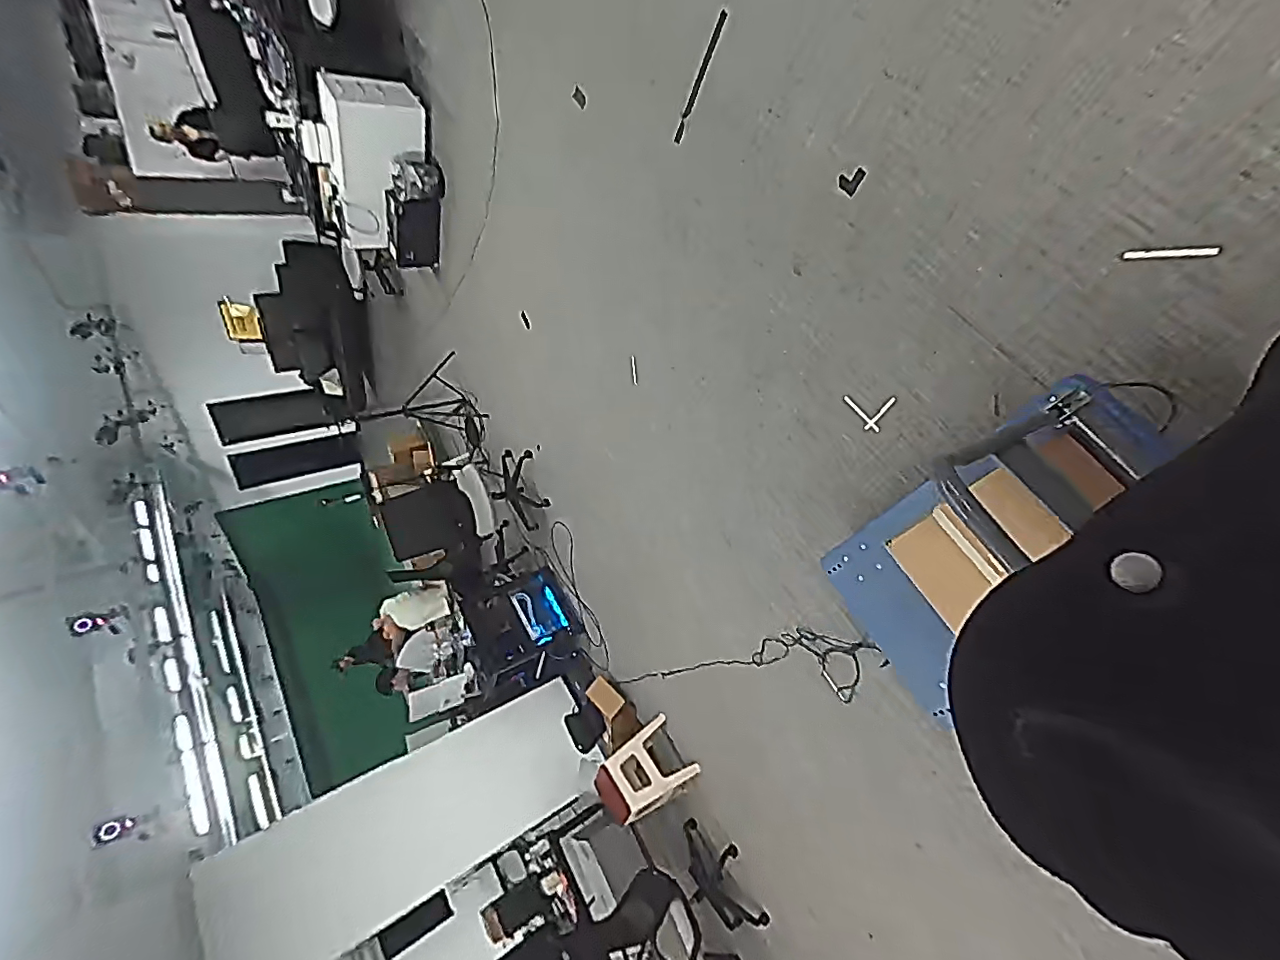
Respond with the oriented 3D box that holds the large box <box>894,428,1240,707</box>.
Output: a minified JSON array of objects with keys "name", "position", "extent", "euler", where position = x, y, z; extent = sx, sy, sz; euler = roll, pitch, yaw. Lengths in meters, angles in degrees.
[{"name":"large box","position":[0.826,0.164,1.083],"extent":[0.408,0.320,0.320],"euler":[58,143,22]}]
